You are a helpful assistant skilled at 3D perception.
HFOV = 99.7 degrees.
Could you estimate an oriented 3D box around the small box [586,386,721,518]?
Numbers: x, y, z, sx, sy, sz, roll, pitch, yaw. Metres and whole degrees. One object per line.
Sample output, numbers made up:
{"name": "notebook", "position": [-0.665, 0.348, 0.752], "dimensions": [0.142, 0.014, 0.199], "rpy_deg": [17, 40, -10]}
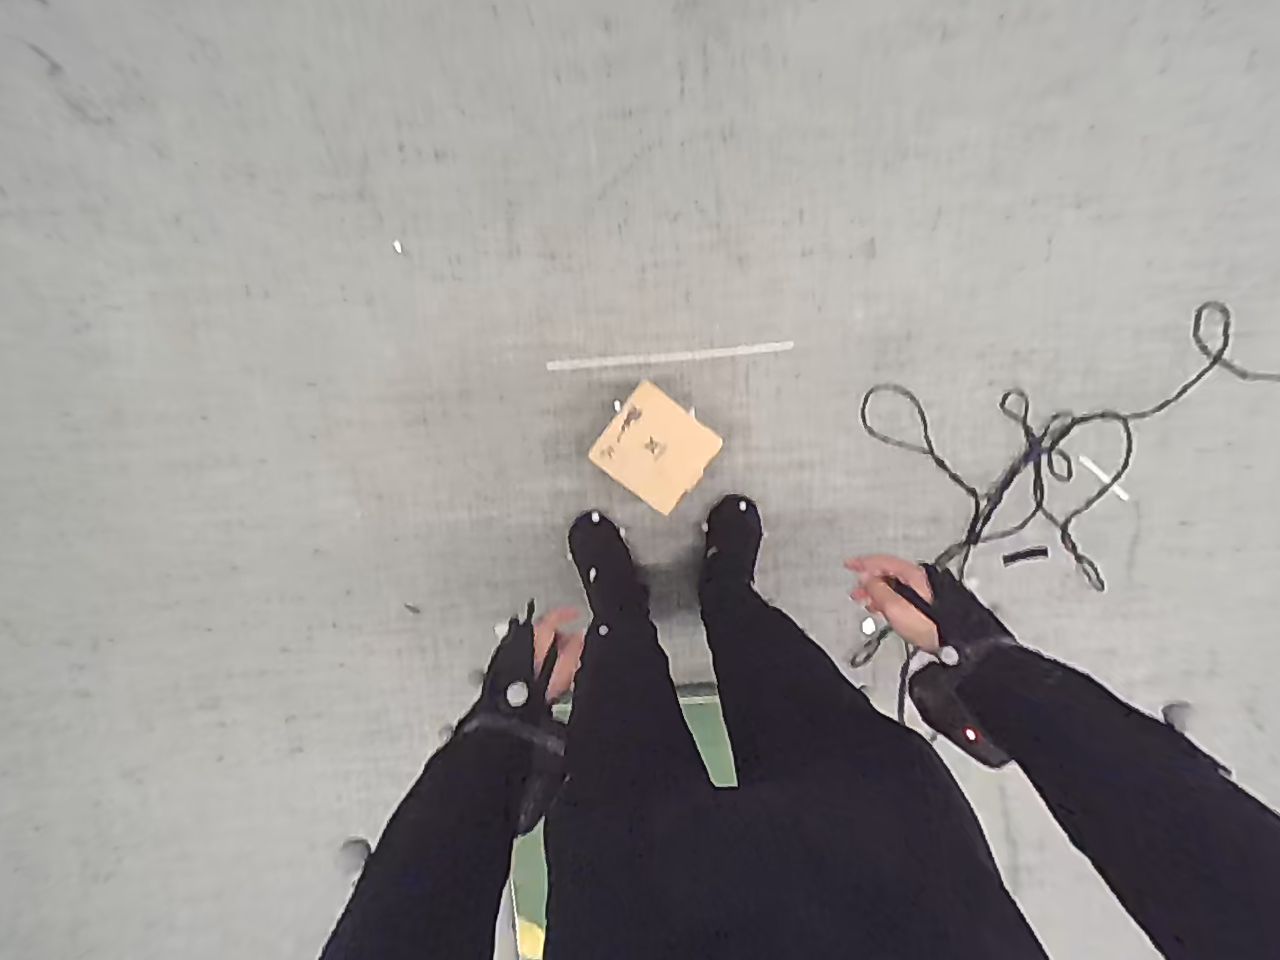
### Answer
{"name": "small box", "position": [0.023, -0.059, 1.000], "dimensions": [0.179, 0.176, 0.168], "rpy_deg": [38, 96, -6]}
